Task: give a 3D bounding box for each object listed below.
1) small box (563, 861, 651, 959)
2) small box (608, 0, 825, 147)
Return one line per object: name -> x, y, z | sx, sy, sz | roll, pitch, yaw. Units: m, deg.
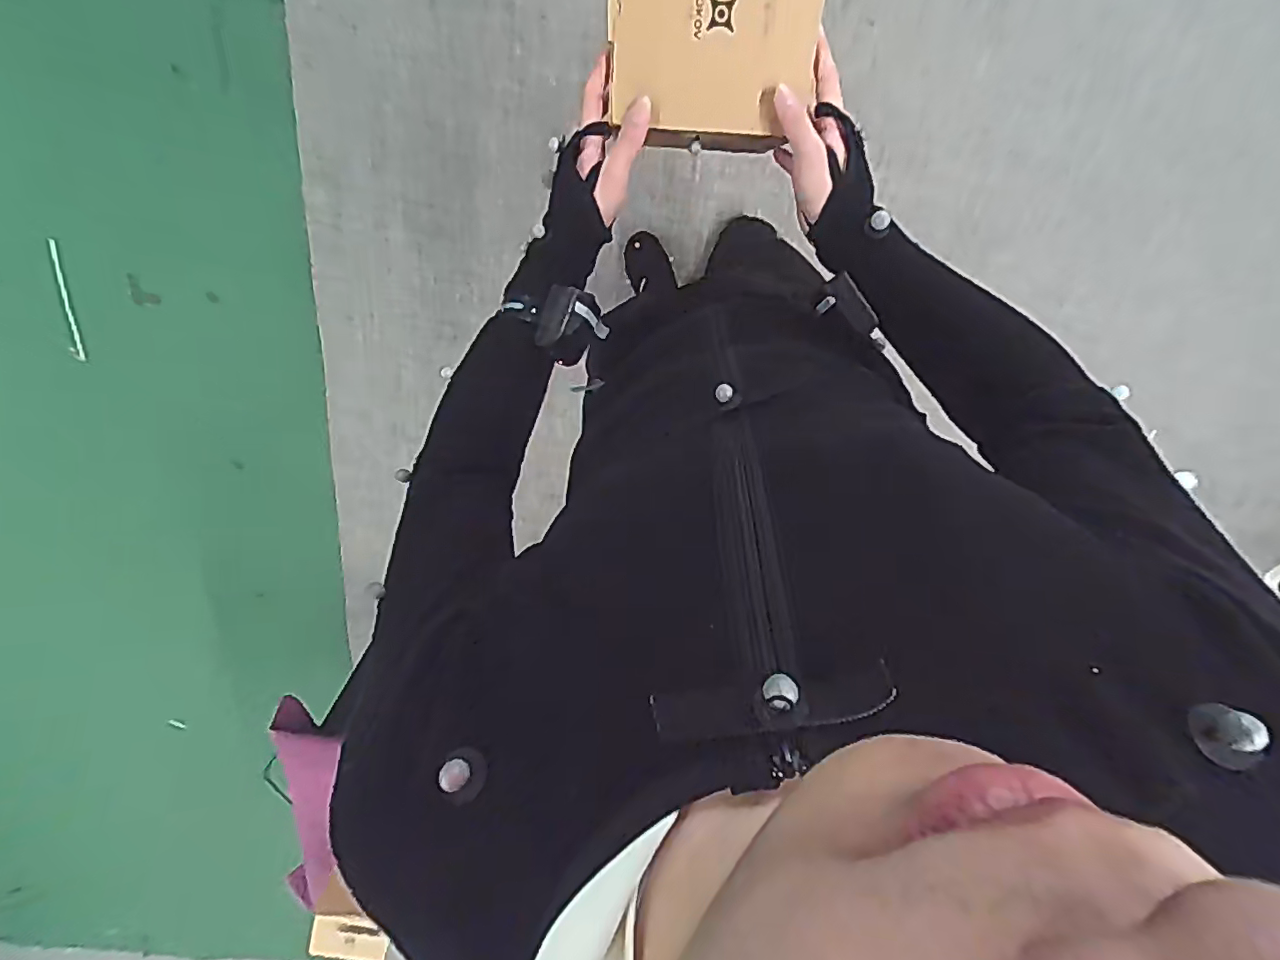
small box -> -0.081, 1.071, 1.320 | 0.179, 0.176, 0.168 | 14, 114, -7
small box -> 0.064, -0.422, 0.511 | 0.179, 0.176, 0.168 | 3, 117, -2
